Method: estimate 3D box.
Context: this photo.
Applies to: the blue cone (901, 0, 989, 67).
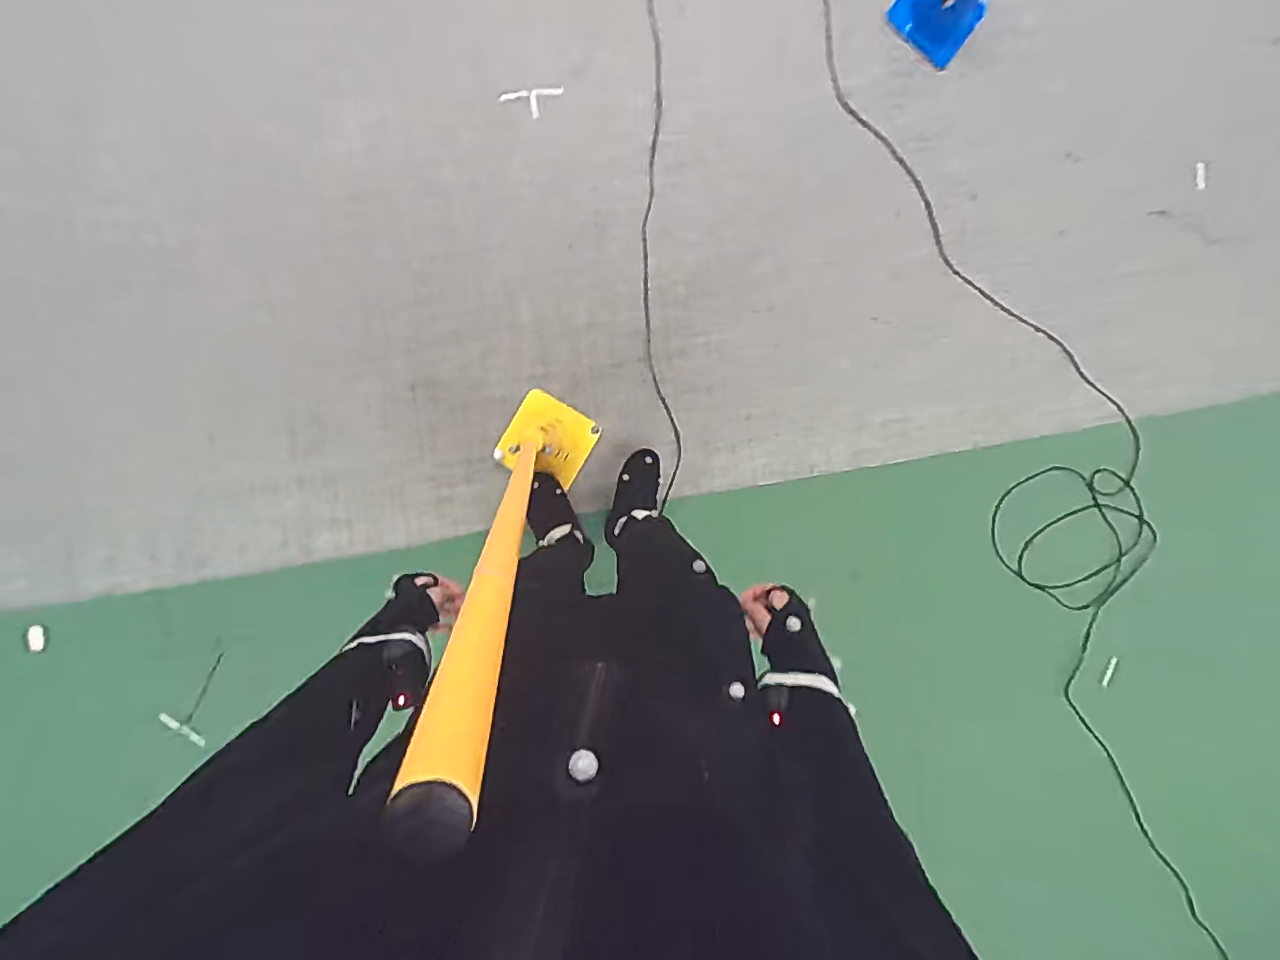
[{"bbox_3d":[0.758,-1.125,1.150,0.192,0.380,0.193,35,87,-6],"label":"blue cone"}]
